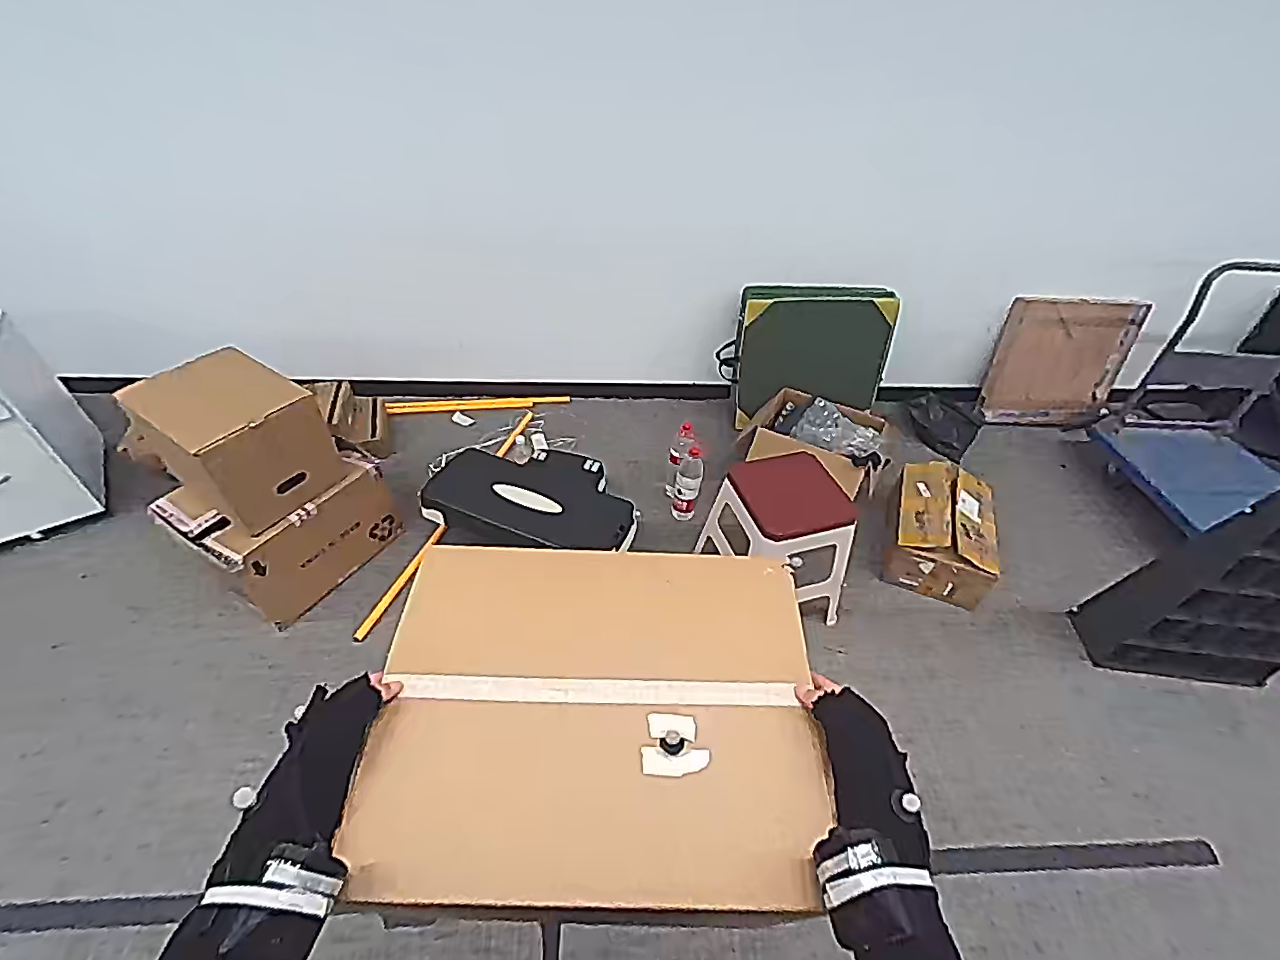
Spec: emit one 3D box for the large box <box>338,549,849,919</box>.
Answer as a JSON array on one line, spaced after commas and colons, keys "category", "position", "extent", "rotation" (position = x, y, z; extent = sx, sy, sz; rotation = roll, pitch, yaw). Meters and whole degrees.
[{"category": "large box", "position": [-0.041, 0.298, 0.622], "extent": [0.408, 0.320, 0.320], "rotation": [3, 49, -1]}]
